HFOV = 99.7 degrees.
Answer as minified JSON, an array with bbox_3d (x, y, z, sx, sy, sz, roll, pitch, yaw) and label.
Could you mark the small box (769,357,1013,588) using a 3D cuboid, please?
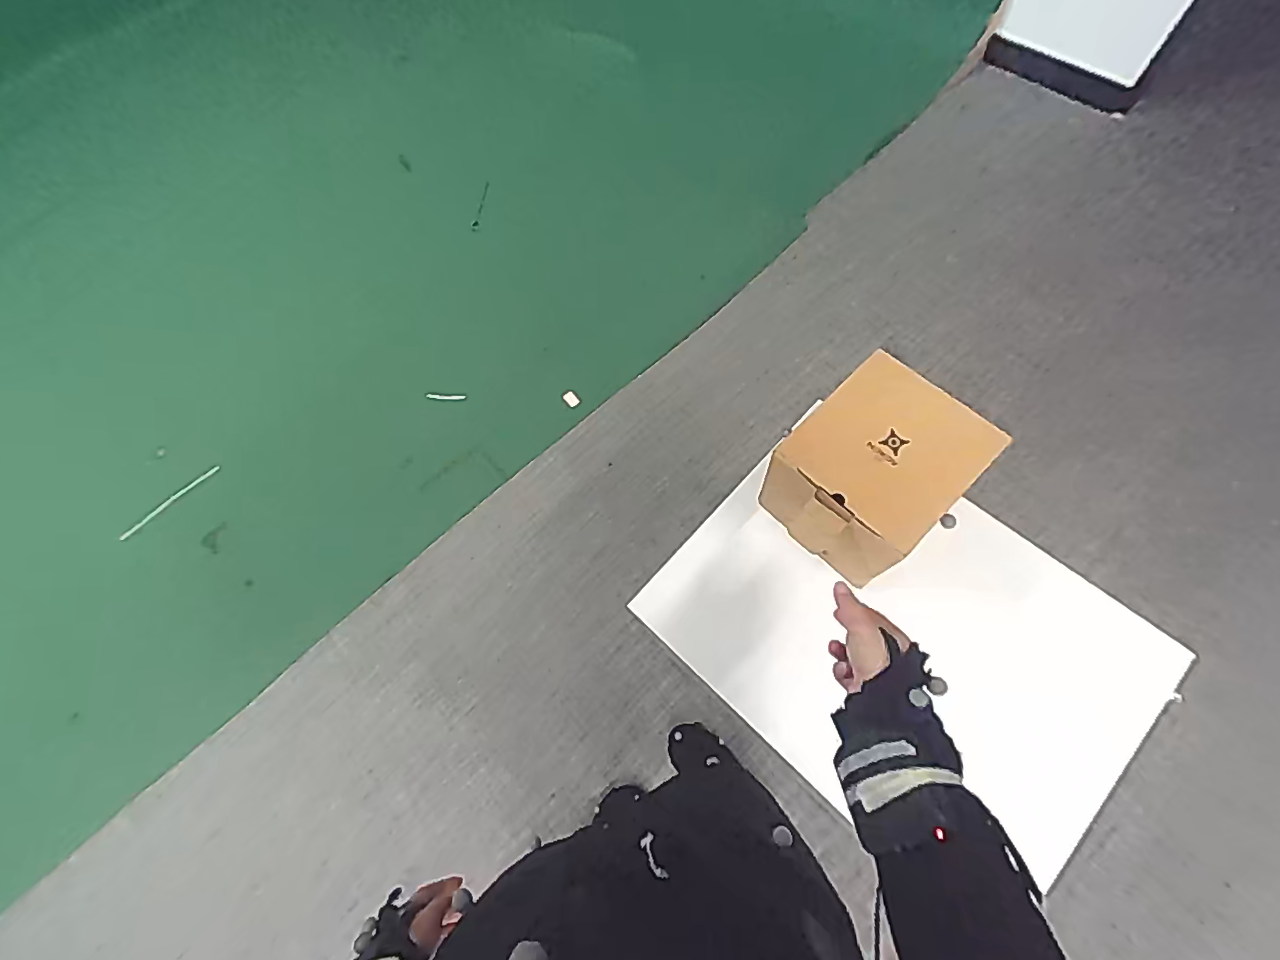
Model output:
[{"bbox_3d":[0.270,0.000,0.630,0.179,0.176,0.168,-43,70,-10],"label":"small box"}]
